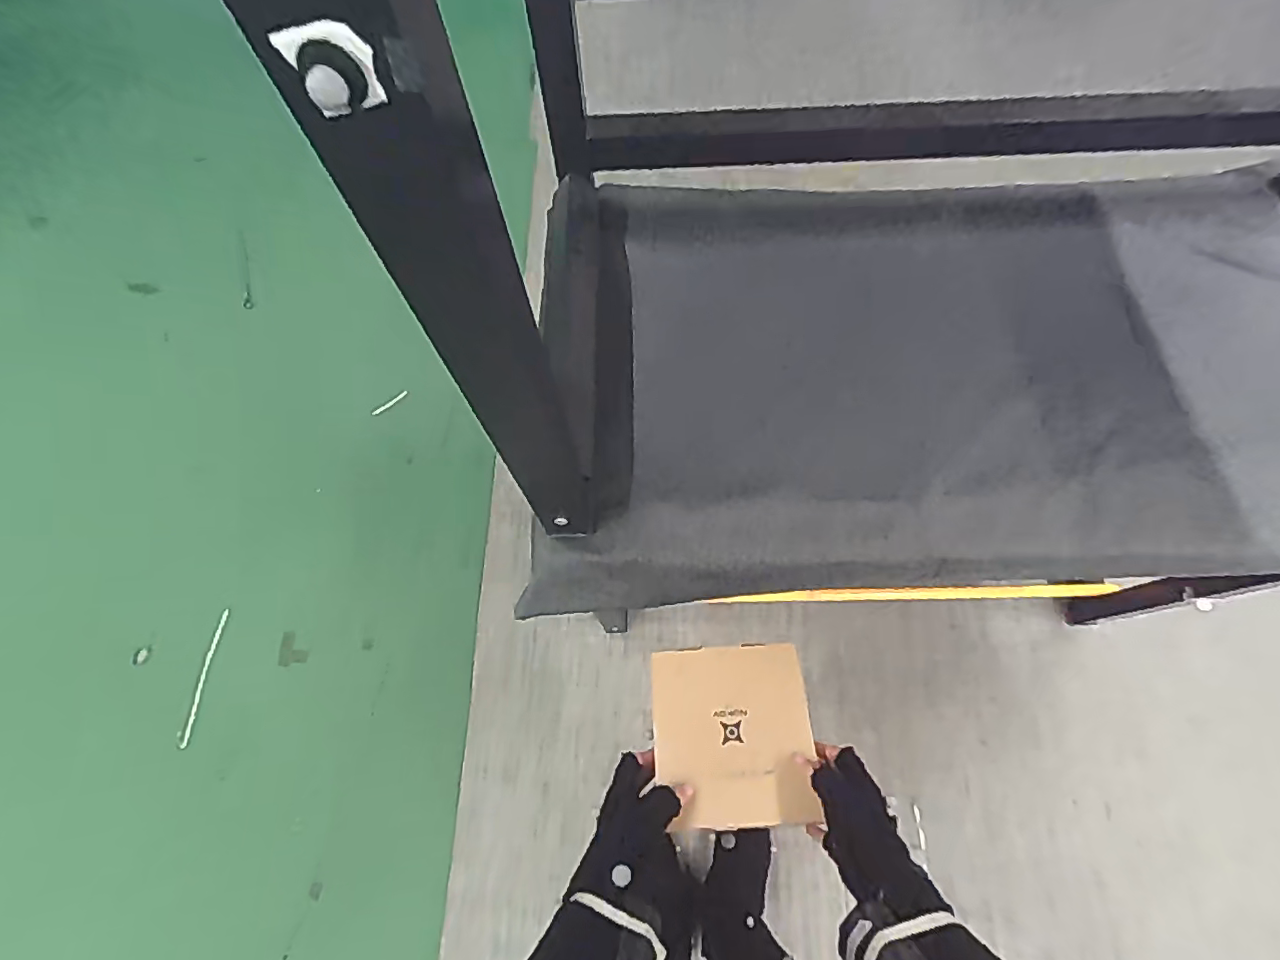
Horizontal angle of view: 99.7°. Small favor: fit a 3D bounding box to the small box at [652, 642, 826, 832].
[{"bbox_3d":[0.104,0.306,0.637,0.168,0.176,0.179,-6,56,4],"label":"small box"}]
